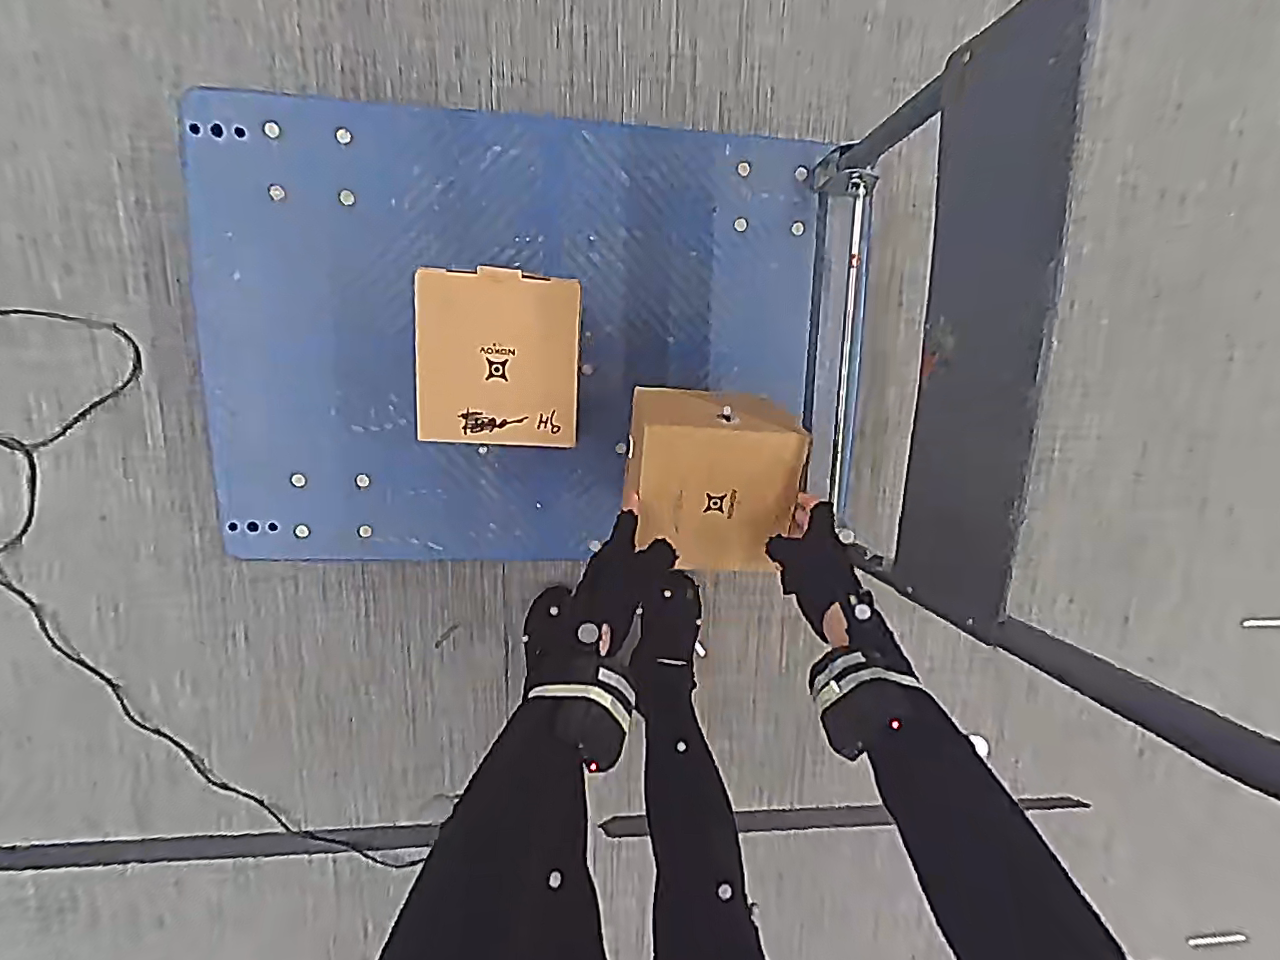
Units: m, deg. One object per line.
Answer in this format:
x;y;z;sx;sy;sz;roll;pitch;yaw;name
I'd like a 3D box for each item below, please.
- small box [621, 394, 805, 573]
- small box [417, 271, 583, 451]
0.073;-0.003;0.654;0.179;0.176;0.168;3;111;-6;small box
-0.156;-0.132;0.644;0.168;0.176;0.179;3;98;-6;small box
